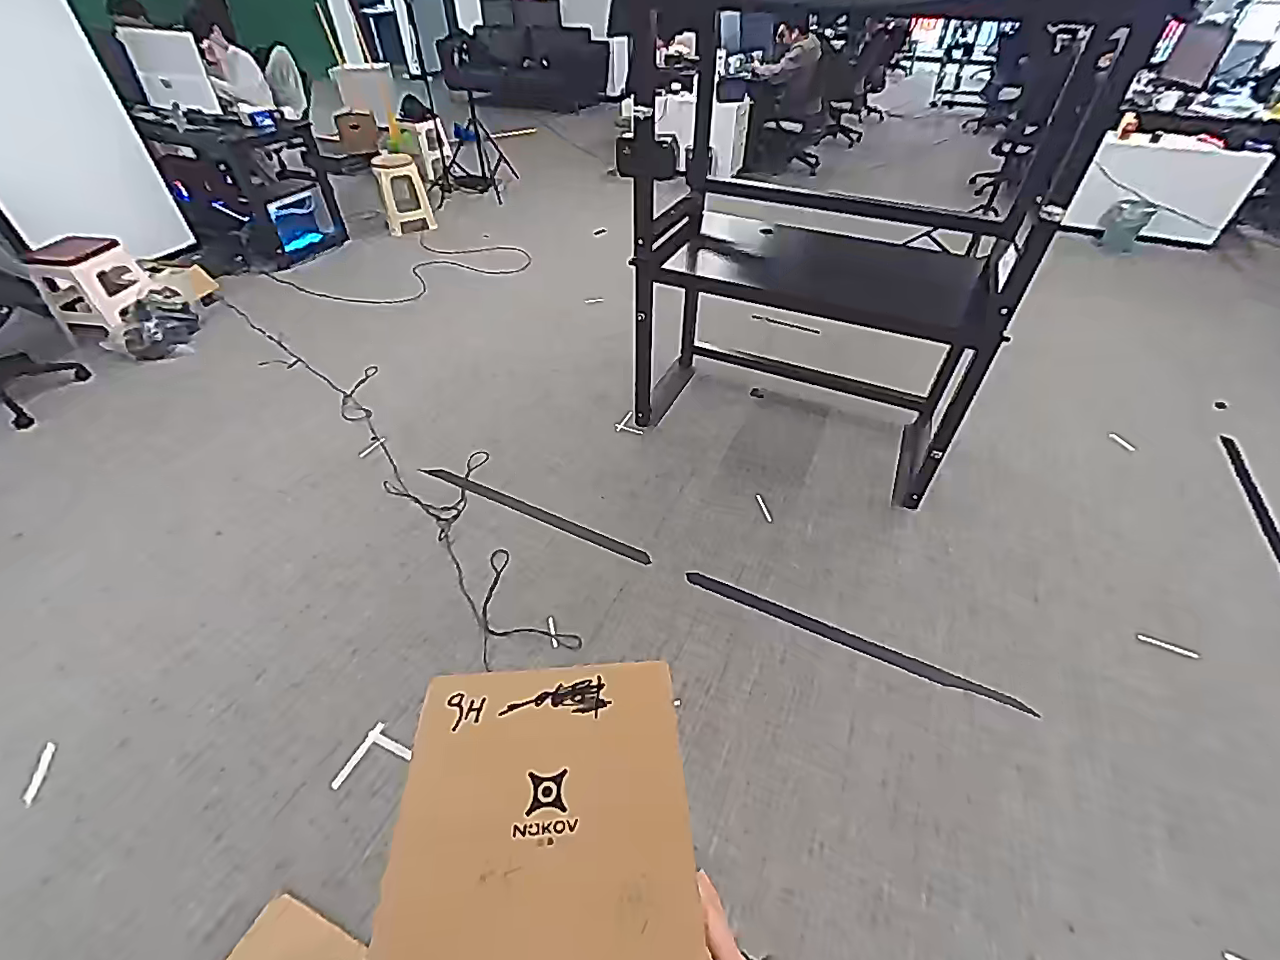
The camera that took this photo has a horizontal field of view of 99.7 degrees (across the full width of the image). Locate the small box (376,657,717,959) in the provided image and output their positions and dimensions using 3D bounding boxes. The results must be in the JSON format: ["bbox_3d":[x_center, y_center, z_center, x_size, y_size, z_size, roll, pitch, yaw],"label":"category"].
[{"bbox_3d":[-0.048,0.242,0.357,0.168,0.176,0.179,-2,42,-4],"label":"small box"}]
